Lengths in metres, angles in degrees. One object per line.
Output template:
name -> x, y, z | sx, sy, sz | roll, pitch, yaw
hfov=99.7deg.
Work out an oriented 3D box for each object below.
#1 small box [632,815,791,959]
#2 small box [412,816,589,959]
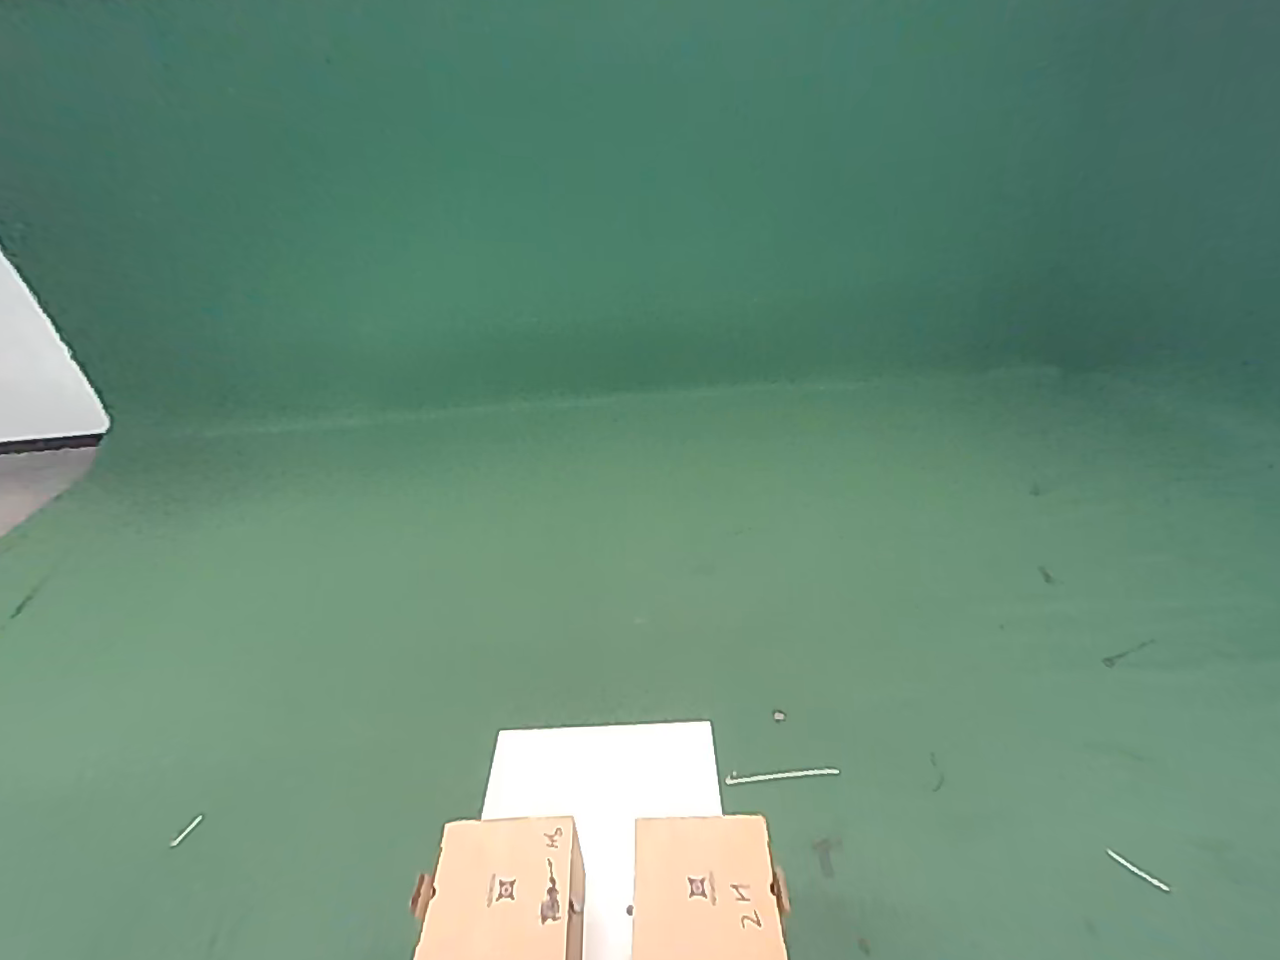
small box -> 0.084, 0.553, 0.685 | 0.179, 0.176, 0.168 | -2, 34, 2
small box -> -0.165, 0.565, 0.697 | 0.179, 0.176, 0.168 | -4, 34, 0
